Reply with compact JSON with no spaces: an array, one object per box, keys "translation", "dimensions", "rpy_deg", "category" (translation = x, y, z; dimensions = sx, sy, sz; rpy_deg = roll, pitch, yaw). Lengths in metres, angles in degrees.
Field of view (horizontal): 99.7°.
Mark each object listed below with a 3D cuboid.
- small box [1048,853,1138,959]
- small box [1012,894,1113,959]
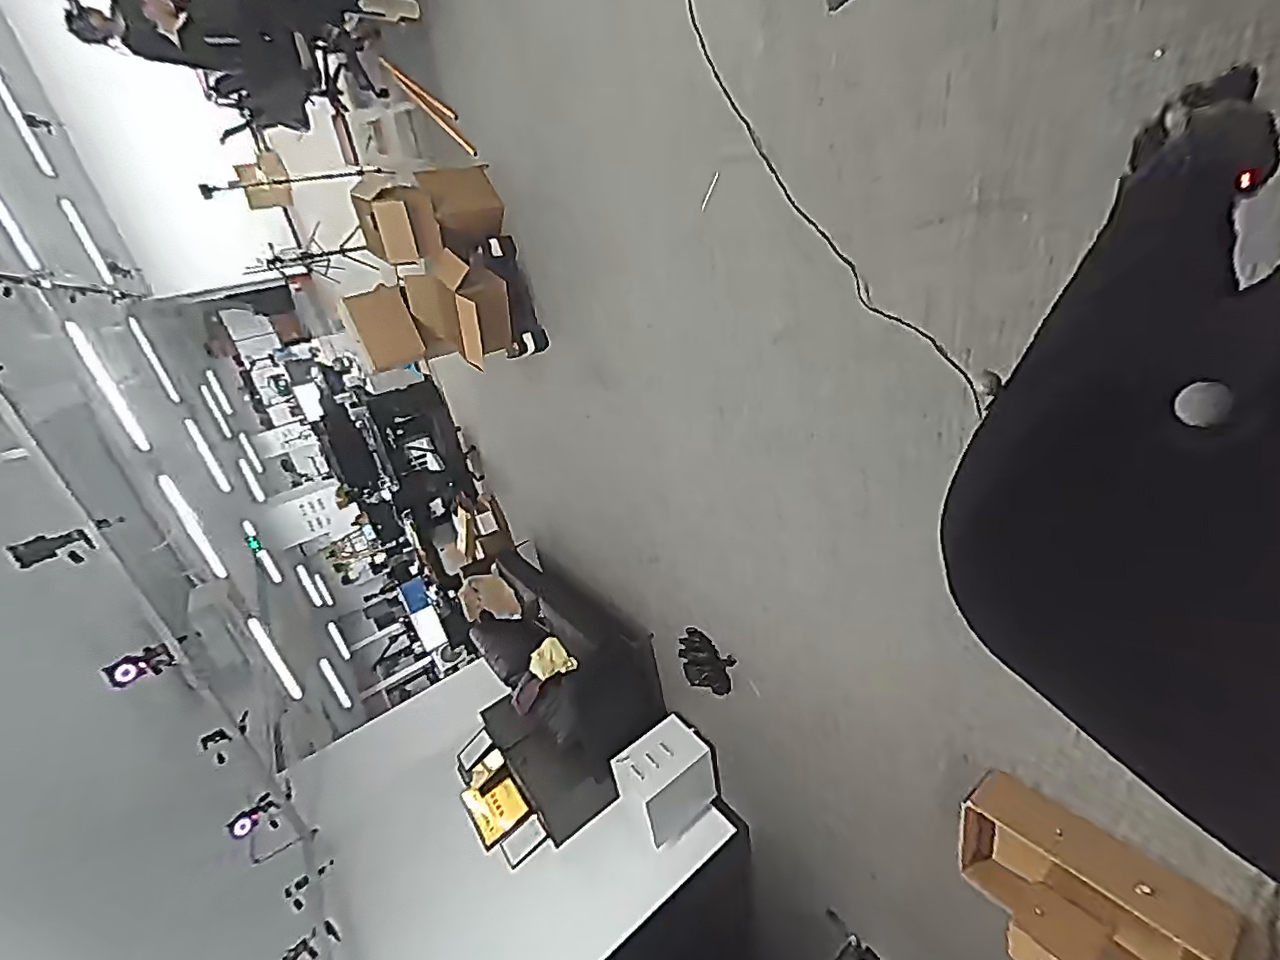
[{"translation":[1.323,1.257,1.589],"dimensions":[0.168,0.176,0.179],"rpy_deg":[21,130,53],"category":"small box"},{"translation":[1.175,1.310,1.505],"dimensions":[0.179,0.176,0.168],"rpy_deg":[13,124,57],"category":"small box"}]
